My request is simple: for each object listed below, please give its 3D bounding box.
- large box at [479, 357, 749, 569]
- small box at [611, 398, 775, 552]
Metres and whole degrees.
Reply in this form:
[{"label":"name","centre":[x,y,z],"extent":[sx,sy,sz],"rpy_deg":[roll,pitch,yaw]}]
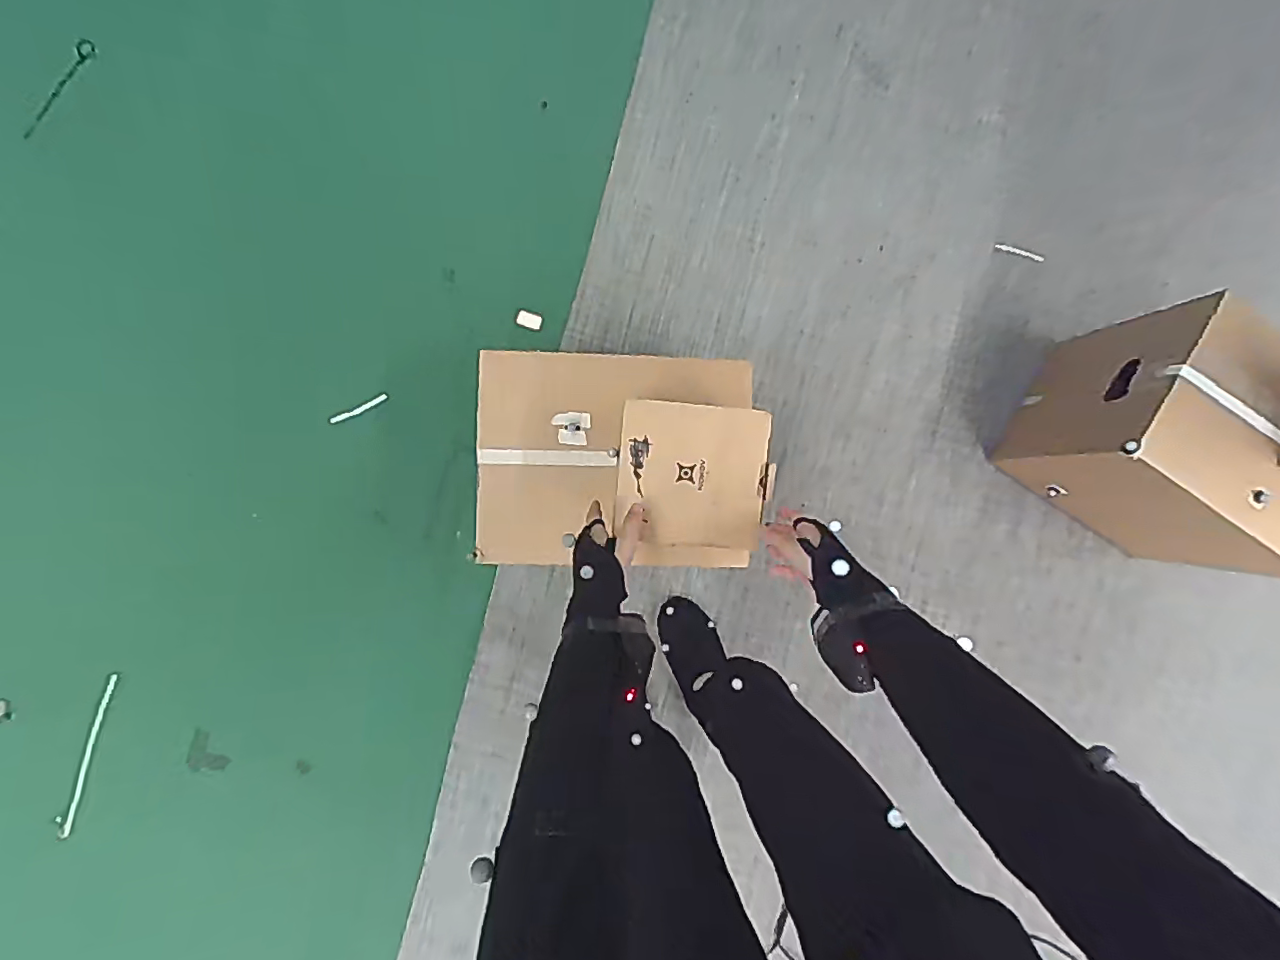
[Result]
[{"label":"large box","centre":[-0.040,-0.025,0.944],"extent":[0.408,0.320,0.320],"rpy_deg":[1,89,-2]},{"label":"small box","centre":[0.058,-0.006,0.703],"extent":[0.179,0.176,0.168],"rpy_deg":[6,90,-4]}]
